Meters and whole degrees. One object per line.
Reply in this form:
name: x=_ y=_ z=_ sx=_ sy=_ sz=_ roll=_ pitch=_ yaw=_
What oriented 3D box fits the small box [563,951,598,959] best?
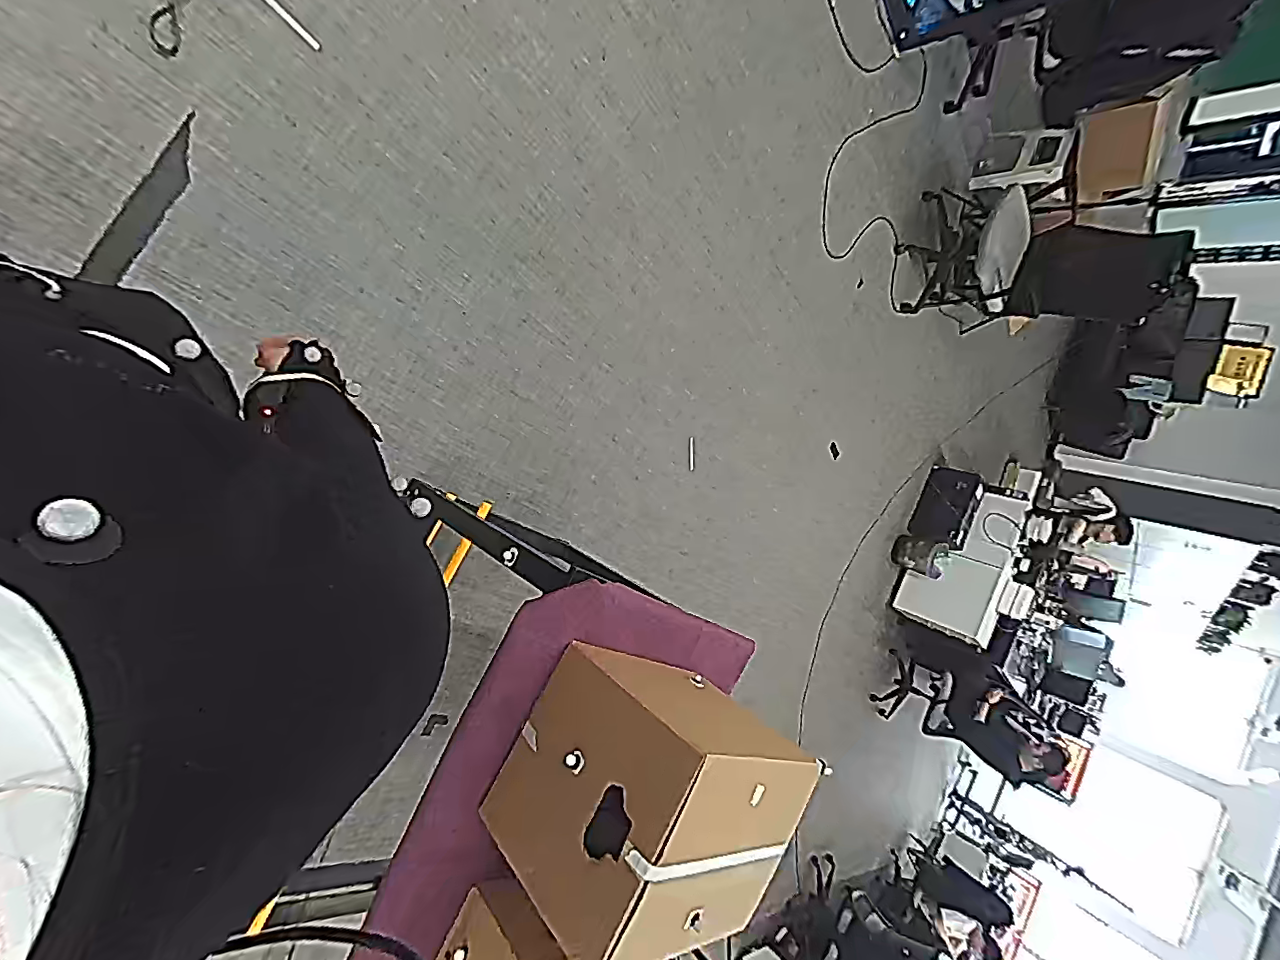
small box: x=-0.102 y=0.844 z=0.777 sx=0.168 sy=0.176 sz=0.179 roll=35 pitch=78 yaw=-44
